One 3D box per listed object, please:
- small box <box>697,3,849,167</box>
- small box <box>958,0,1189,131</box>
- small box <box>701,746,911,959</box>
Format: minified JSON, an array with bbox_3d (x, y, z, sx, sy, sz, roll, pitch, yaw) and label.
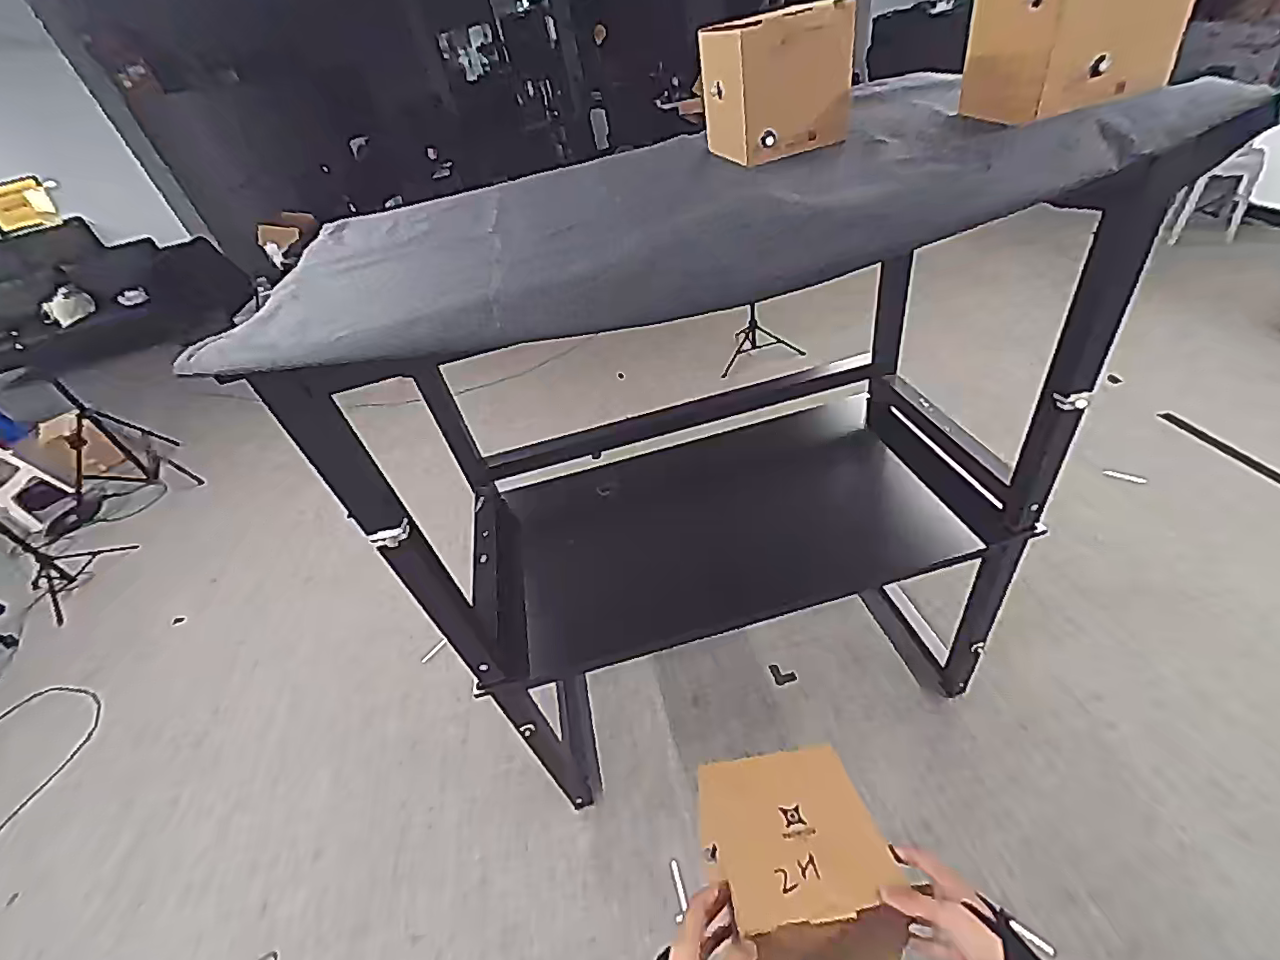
[{"bbox_3d":[0.201,-0.602,0.834,0.168,0.176,0.179,-17,40,-4],"label":"small box"},{"bbox_3d":[0.550,-0.575,0.705,0.168,0.176,0.179,-13,40,2],"label":"small box"},{"bbox_3d":[0.164,0.436,0.599,0.168,0.176,0.179,-6,24,-6],"label":"small box"}]
